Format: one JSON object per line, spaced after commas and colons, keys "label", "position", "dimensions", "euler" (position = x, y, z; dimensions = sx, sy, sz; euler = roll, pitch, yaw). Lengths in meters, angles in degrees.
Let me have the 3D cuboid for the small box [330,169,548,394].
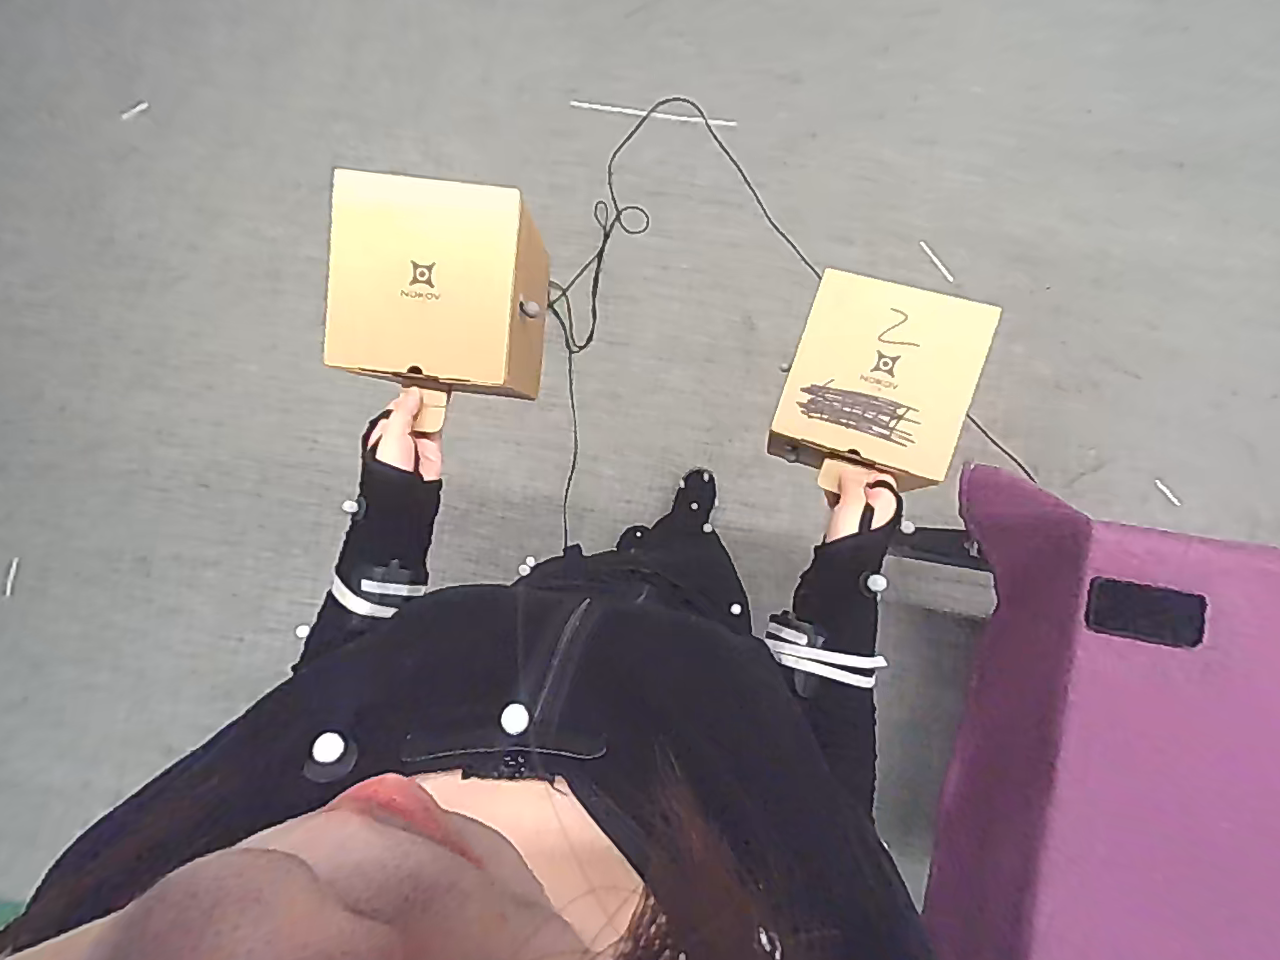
{"label": "small box", "position": [-0.196, -0.191, 0.572], "dimensions": [0.168, 0.176, 0.179], "euler": [6, 96, -1]}
